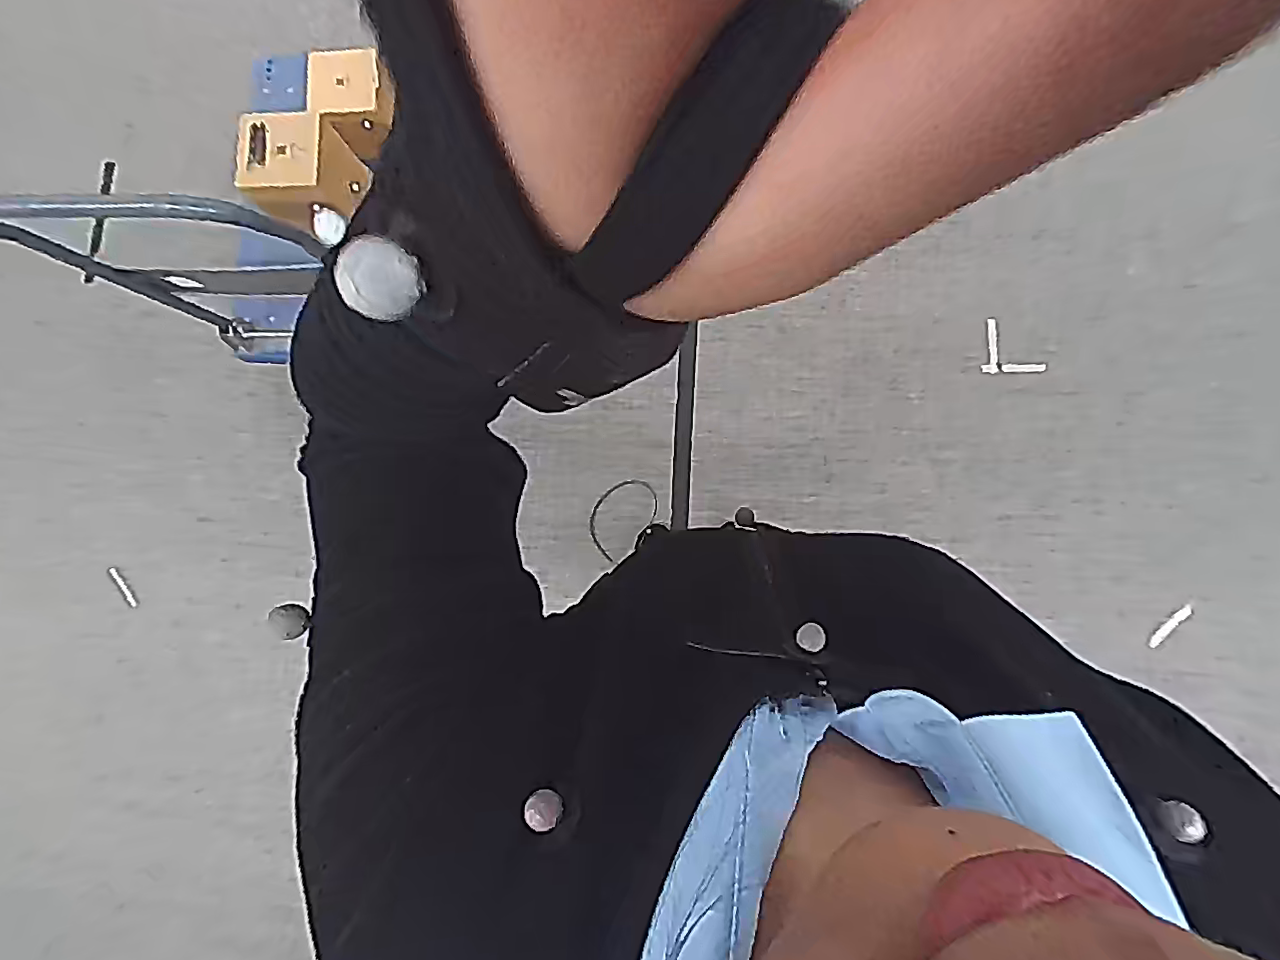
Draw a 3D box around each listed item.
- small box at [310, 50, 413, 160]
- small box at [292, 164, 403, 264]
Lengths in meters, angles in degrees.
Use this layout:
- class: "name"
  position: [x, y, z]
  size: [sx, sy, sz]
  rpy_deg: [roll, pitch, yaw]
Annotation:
- class: "small box"
  position: [-0.711, -0.955, 1.391]
  size: [0.179, 0.176, 0.168]
  rpy_deg: [-2, 84, 2]
- class: "small box"
  position: [-0.729, -0.663, 1.361]
  size: [0.179, 0.176, 0.168]
  rpy_deg: [4, 85, 3]
